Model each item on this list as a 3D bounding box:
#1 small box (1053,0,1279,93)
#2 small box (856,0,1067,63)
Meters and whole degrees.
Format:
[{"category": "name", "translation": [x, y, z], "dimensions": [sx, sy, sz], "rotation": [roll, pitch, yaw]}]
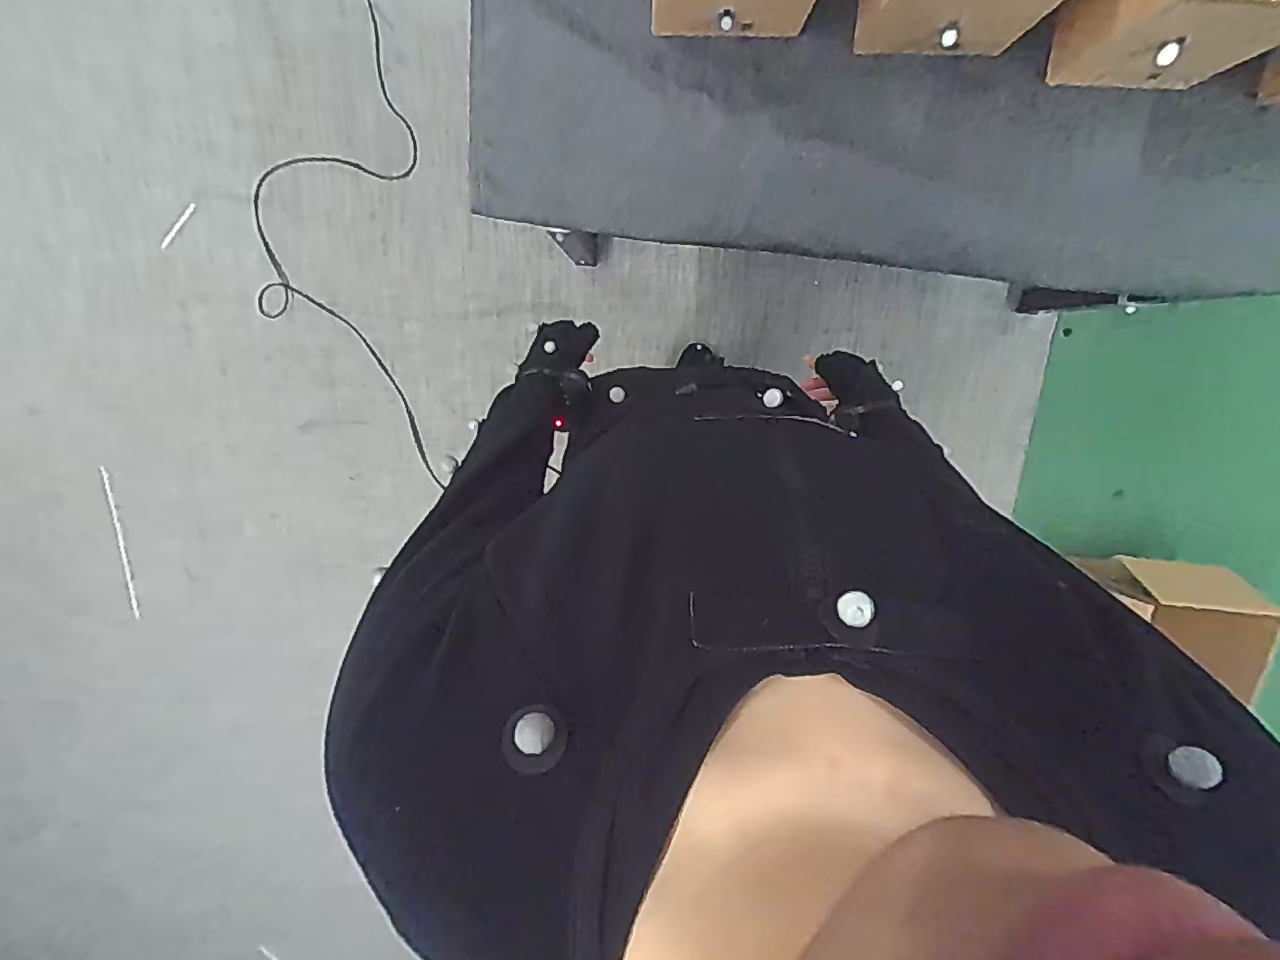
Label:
[{"category": "small box", "translation": [0.543, -0.502, 0.515], "dimensions": [0.168, 0.176, 0.179], "rotation": [2, 103, 0]}, {"category": "small box", "translation": [0.320, -0.538, 0.508], "dimensions": [0.168, 0.176, 0.179], "rotation": [2, 104, 1]}]
